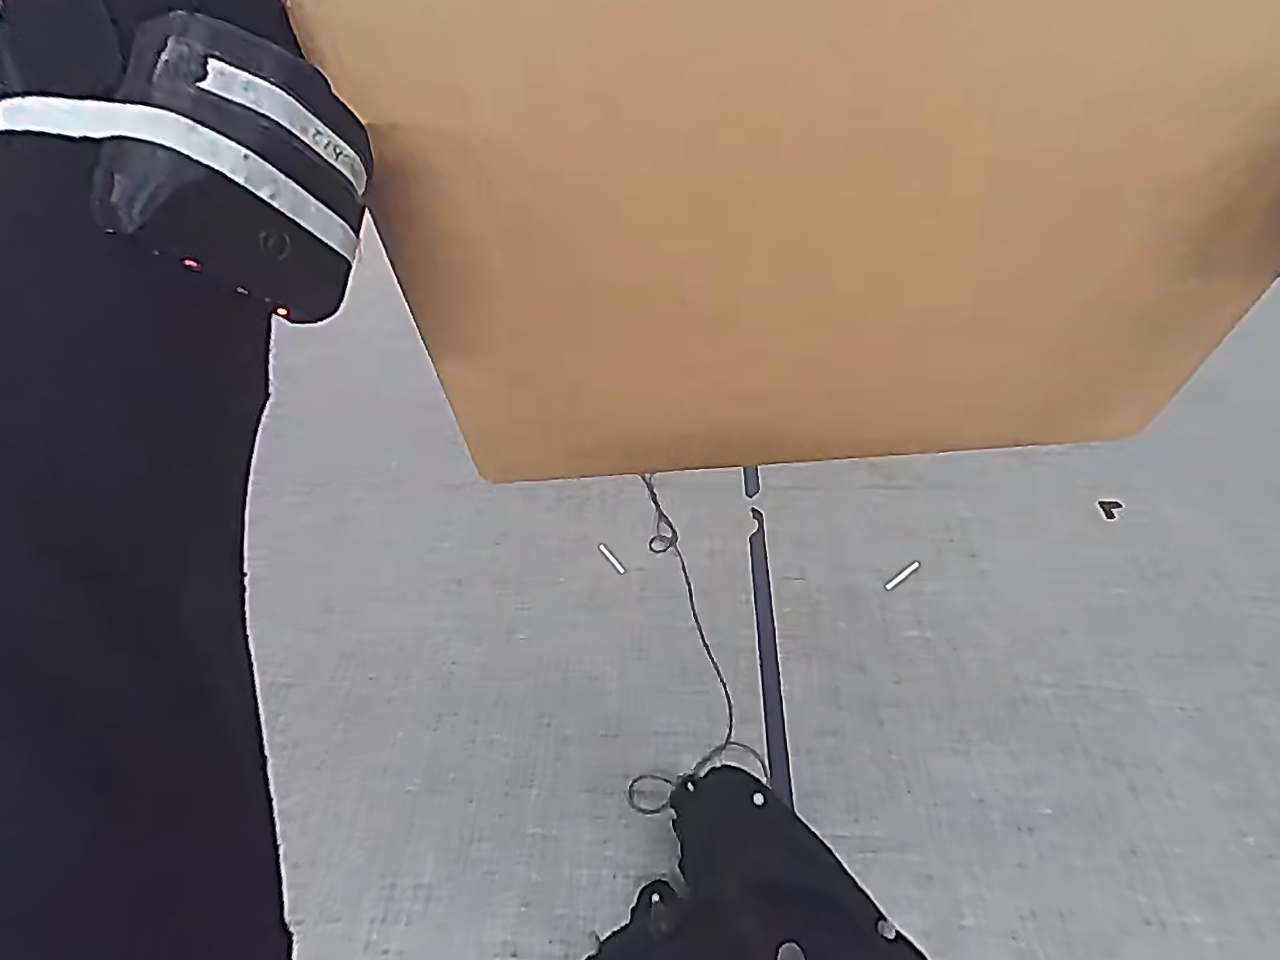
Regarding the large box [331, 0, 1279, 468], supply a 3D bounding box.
[{"bbox_3d":[0.085,-0.231,0.335,0.408,0.320,0.320,-4,48,-1],"label":"large box"}]
